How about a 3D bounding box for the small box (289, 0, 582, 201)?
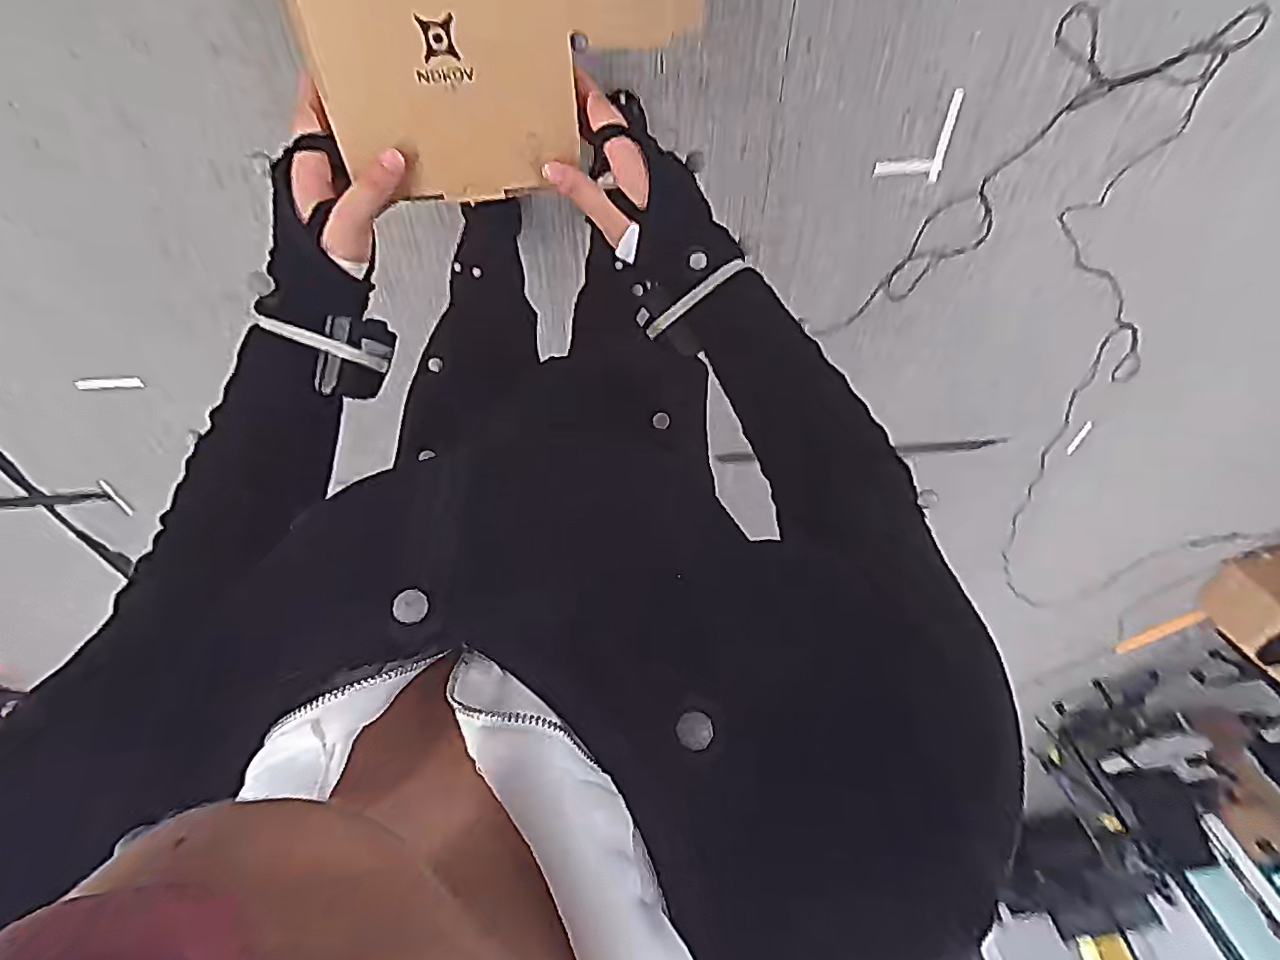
[{"bbox_3d":[-0.135,-0.328,0.396,0.168,0.176,0.179,-8,133,-5],"label":"small box"}]
